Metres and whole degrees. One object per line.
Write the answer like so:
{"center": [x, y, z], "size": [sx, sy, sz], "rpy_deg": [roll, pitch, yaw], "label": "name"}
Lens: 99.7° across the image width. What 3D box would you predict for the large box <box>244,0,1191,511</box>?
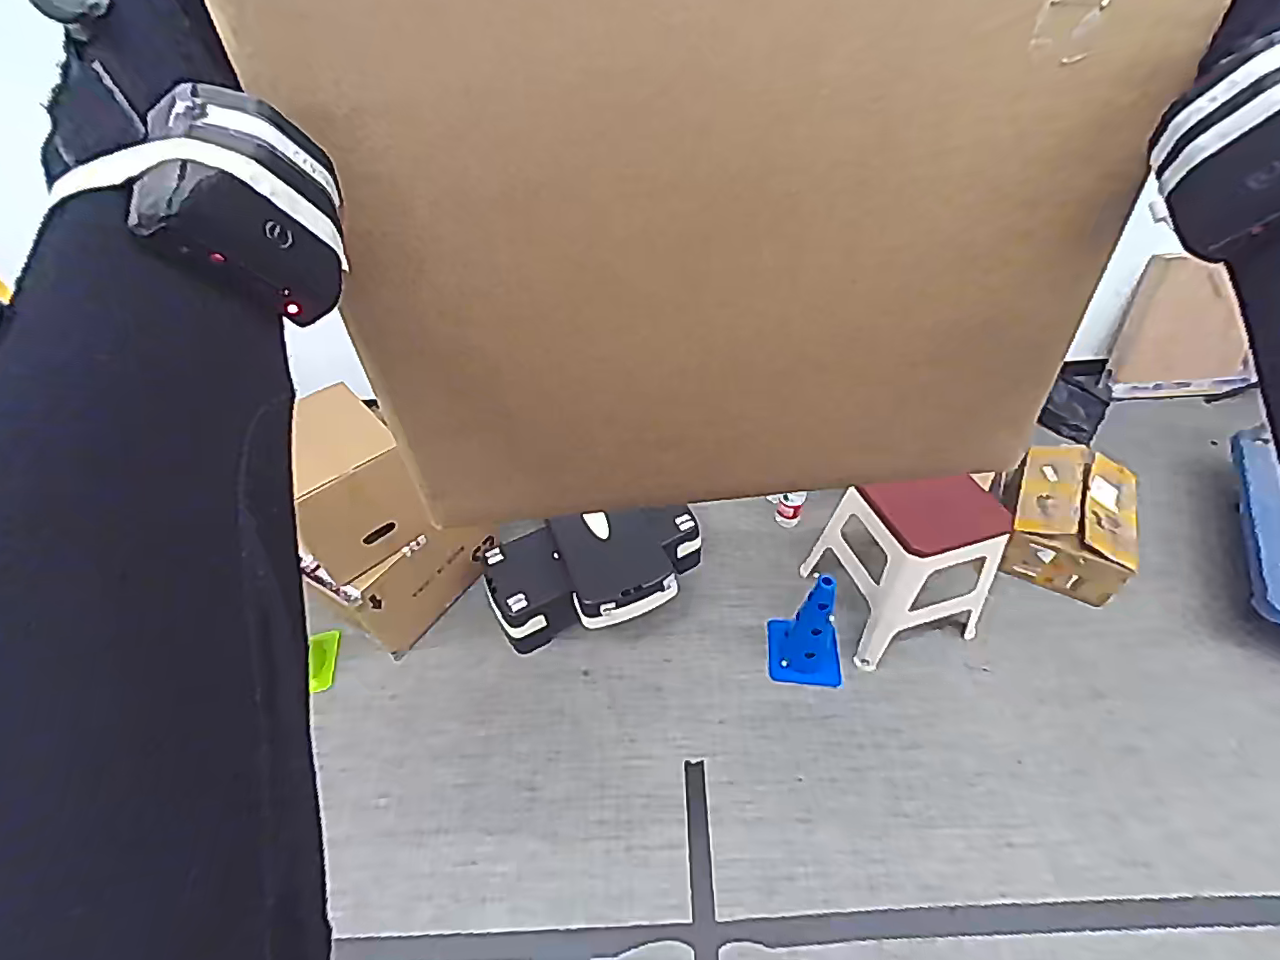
{"center": [0.034, -0.204, 0.397], "size": [0.408, 0.320, 0.320], "rpy_deg": [-6, 39, -2], "label": "large box"}
